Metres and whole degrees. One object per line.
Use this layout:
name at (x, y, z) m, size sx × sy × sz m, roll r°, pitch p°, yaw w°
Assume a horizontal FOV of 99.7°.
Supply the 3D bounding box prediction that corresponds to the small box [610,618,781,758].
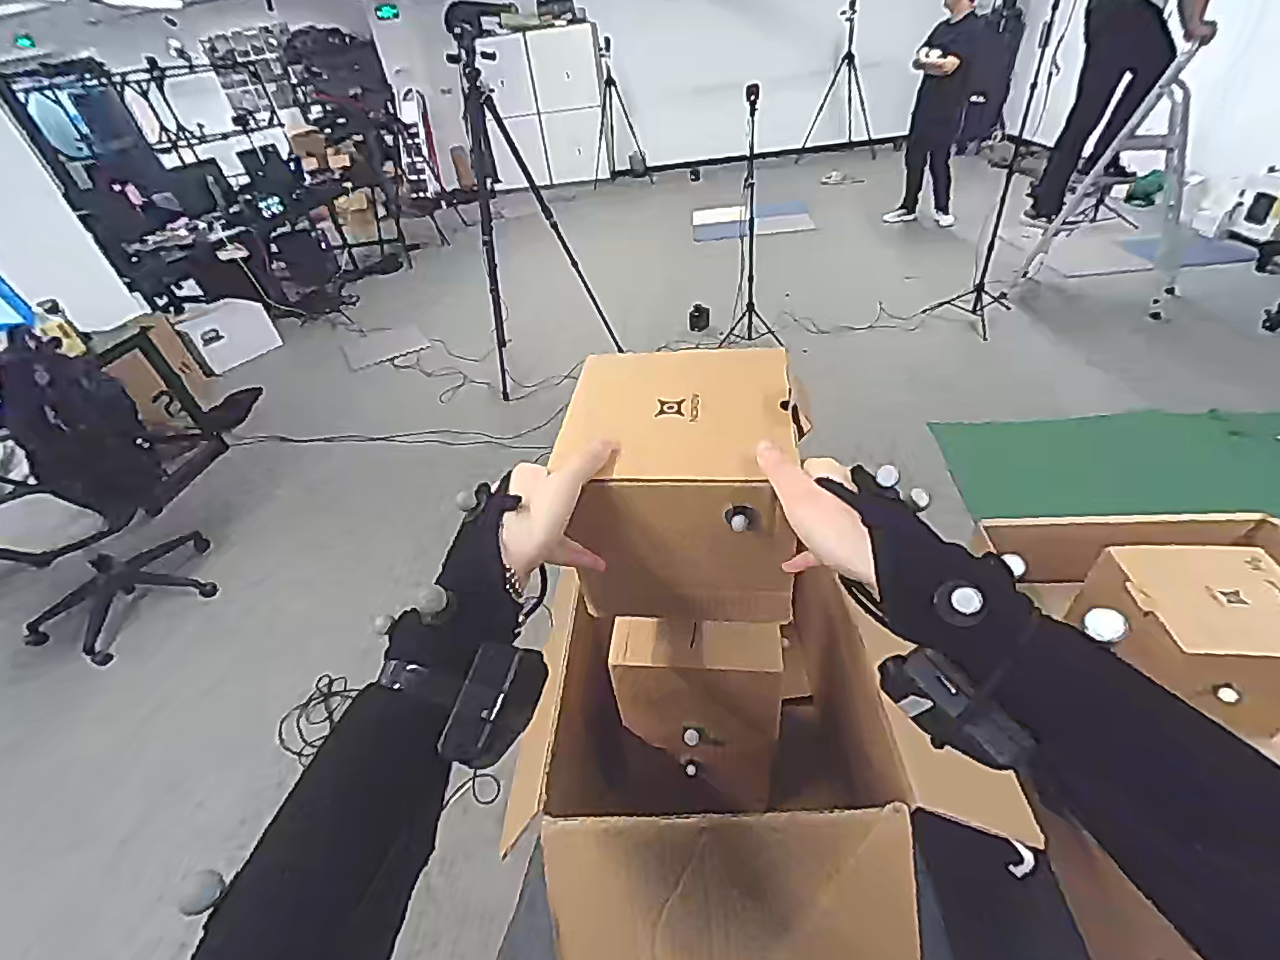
small box at (0.068, 0.188, 0.621) m, size 0.168 × 0.176 × 0.179 m, roll 0°, pitch 41°, yaw 9°

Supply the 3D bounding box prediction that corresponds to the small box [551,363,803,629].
small box at (0.041, 0.014, 0.473) m, size 0.179 × 0.176 × 0.168 m, roll 1°, pitch 43°, yaw 10°
